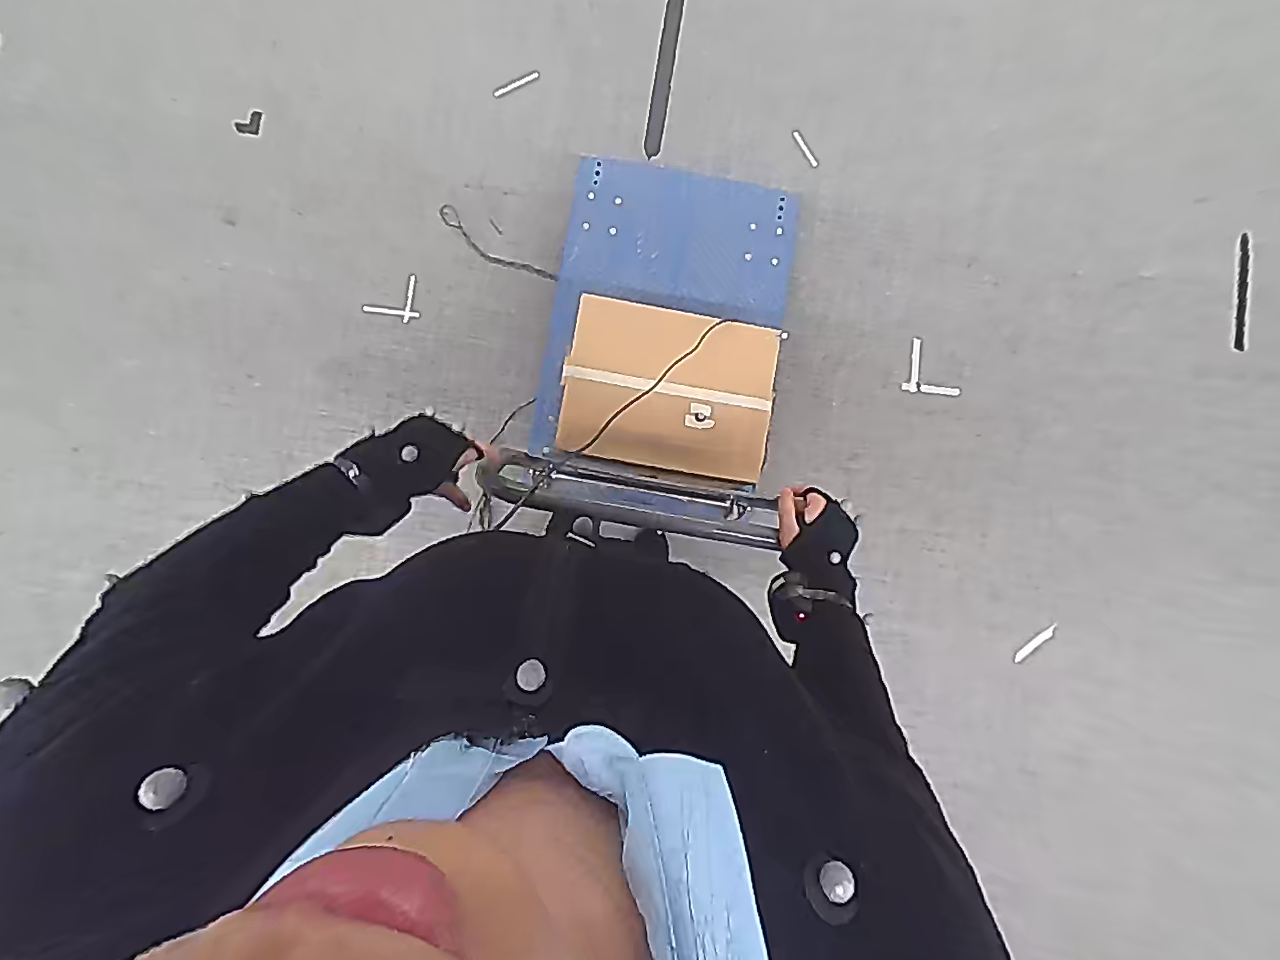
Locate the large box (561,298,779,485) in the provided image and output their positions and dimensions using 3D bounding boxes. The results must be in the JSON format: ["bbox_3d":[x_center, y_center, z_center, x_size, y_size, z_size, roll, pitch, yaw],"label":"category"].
[{"bbox_3d":[0.051,-0.173,1.213,0.408,0.320,0.320,9,87,-3],"label":"large box"}]
